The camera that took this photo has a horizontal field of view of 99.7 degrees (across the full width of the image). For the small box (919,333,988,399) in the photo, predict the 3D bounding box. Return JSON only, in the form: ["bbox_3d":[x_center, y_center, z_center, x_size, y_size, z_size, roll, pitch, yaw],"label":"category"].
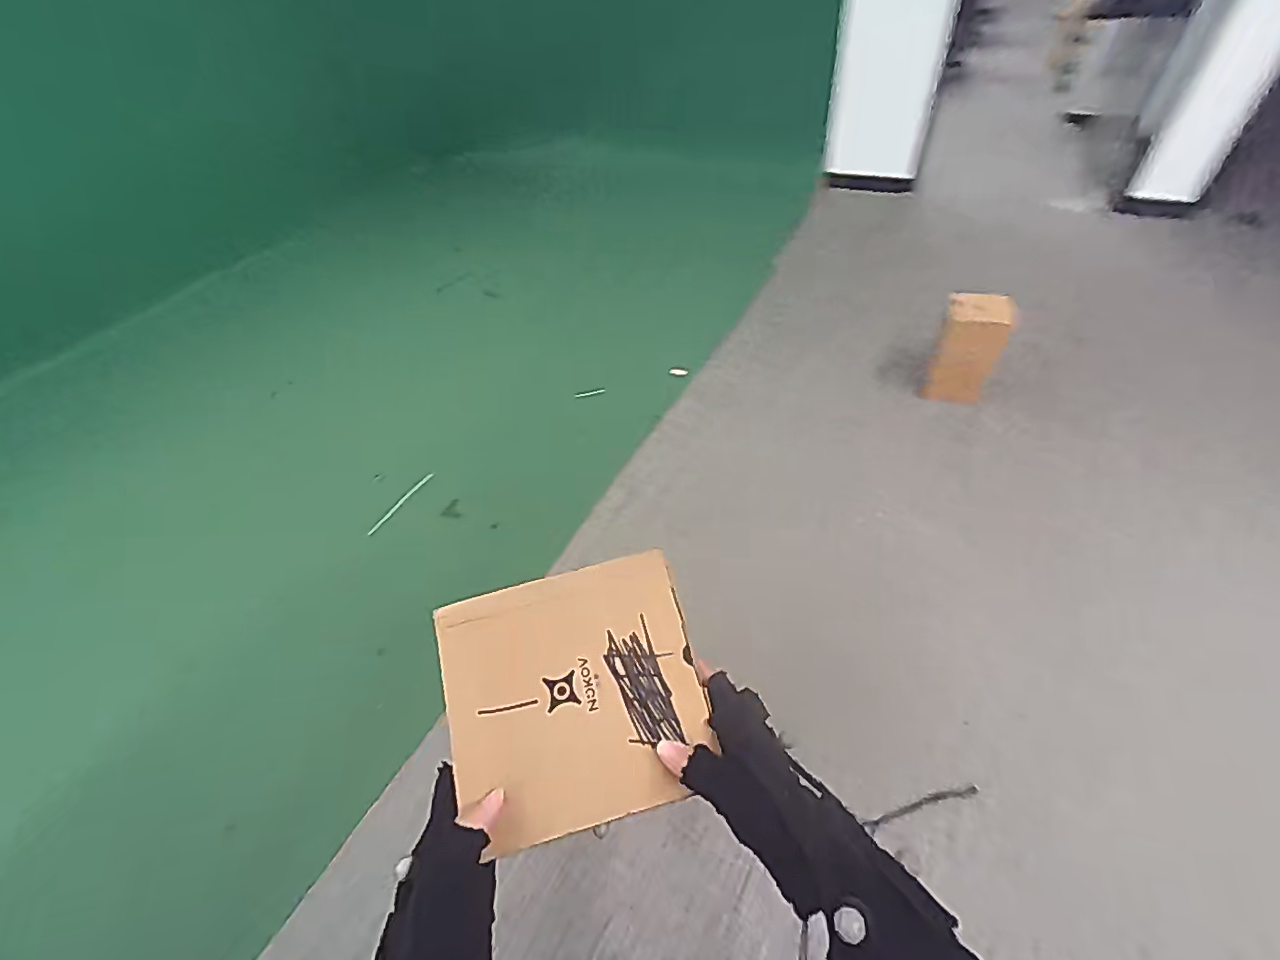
[{"bbox_3d":[1.113,-0.409,1.931,0.179,0.176,0.168,8,51,17],"label":"small box"}]

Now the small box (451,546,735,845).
[{"bbox_3d":[-0.038,0.172,0.452,0.179,0.176,0.168,-13,66,-5],"label":"small box"}]

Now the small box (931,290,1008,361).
[{"bbox_3d":[1.095,-0.514,1.811,0.179,0.176,0.168,7,52,16],"label":"small box"}]
